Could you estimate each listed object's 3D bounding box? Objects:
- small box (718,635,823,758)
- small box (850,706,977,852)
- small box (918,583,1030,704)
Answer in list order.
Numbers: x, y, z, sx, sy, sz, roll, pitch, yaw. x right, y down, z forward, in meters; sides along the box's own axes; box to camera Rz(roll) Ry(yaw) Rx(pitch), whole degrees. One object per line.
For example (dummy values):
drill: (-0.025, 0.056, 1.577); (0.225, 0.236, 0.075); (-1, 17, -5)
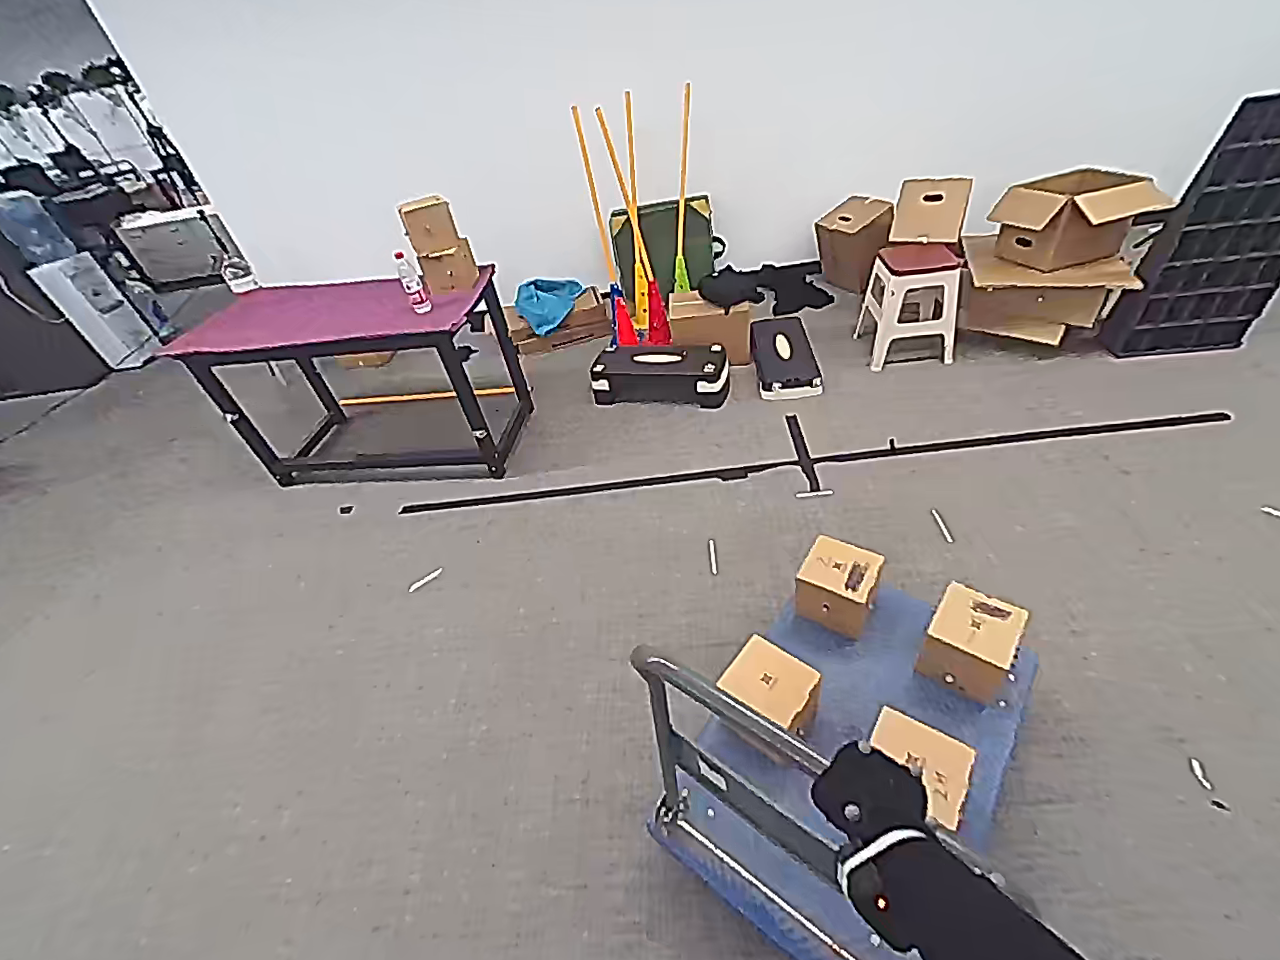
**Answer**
small box: (0.297, 0.501, 1.249); (0.179, 0.176, 0.168); (27, 53, 33)
small box: (0.538, 0.600, 1.082); (0.179, 0.176, 0.168); (22, 51, 32)
small box: (0.778, 0.384, 1.274); (0.168, 0.176, 0.179); (24, 53, 34)
